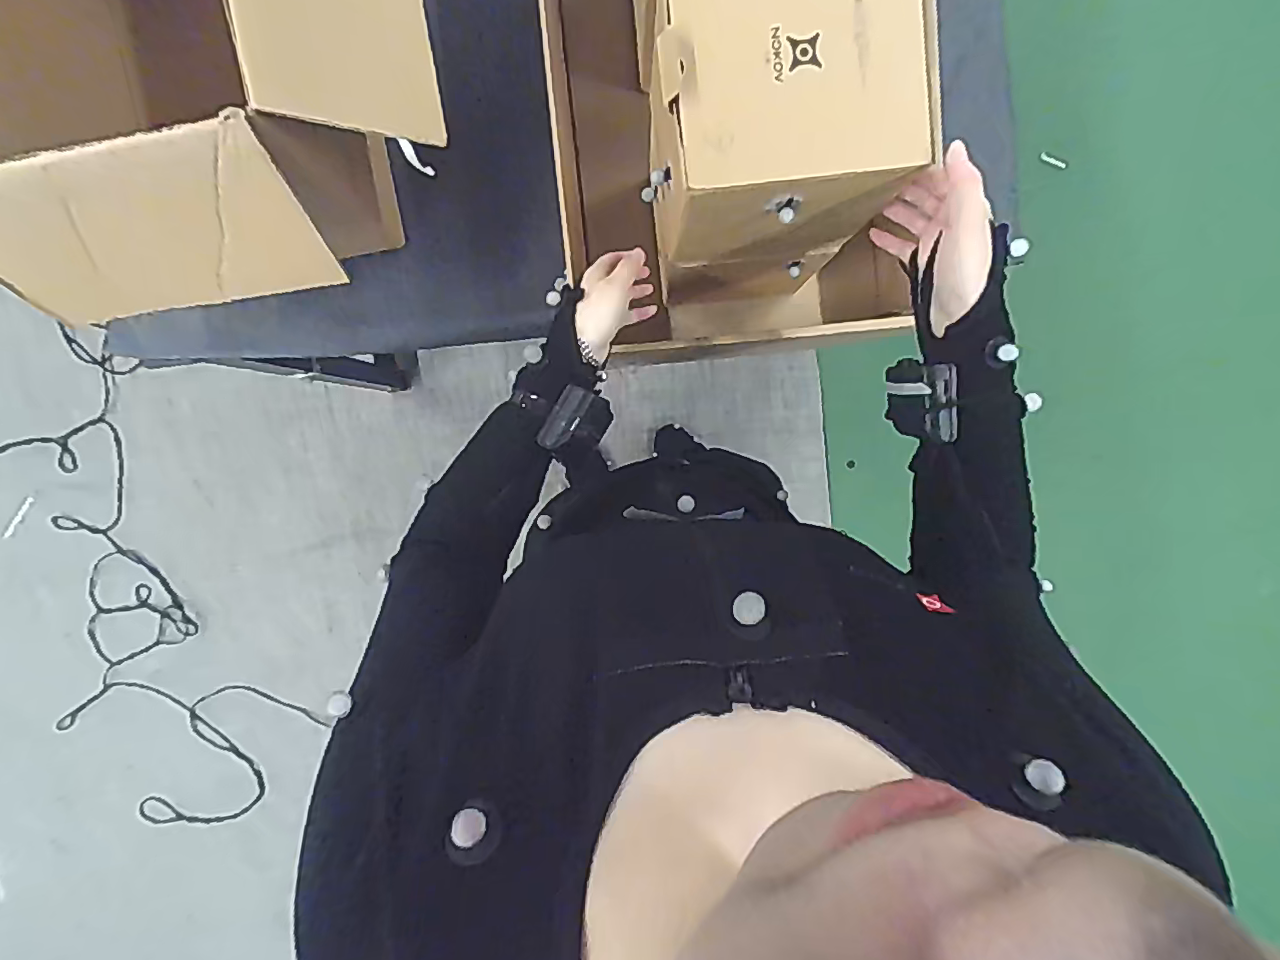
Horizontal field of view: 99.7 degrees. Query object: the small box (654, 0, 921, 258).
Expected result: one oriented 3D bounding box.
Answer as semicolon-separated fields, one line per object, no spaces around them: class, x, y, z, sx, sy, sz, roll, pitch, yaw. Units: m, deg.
small box;0.105;-0.301;0.457;0.179;0.176;0.168;-7;96;-1
